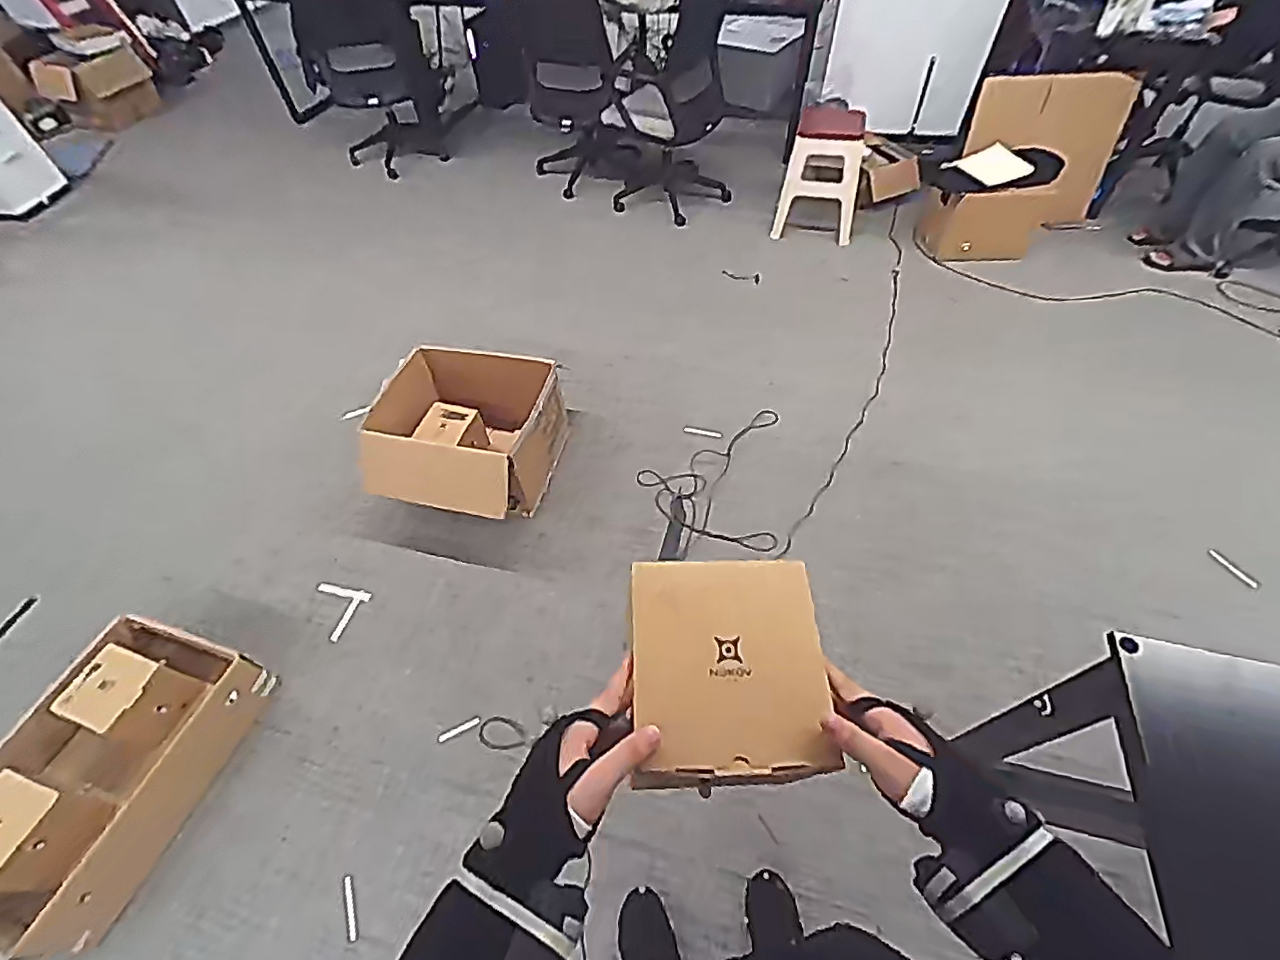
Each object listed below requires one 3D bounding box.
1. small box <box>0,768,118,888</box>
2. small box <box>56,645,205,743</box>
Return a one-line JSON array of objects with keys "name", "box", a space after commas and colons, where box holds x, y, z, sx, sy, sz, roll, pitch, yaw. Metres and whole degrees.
[{"name": "small box", "box": [-1.331, 0.766, 1.186, 0.168, 0.176, 0.179, 14, 53, 10]}, {"name": "small box", "box": [-1.258, 0.541, 1.354, 0.179, 0.176, 0.168, 16, 56, 12]}]
